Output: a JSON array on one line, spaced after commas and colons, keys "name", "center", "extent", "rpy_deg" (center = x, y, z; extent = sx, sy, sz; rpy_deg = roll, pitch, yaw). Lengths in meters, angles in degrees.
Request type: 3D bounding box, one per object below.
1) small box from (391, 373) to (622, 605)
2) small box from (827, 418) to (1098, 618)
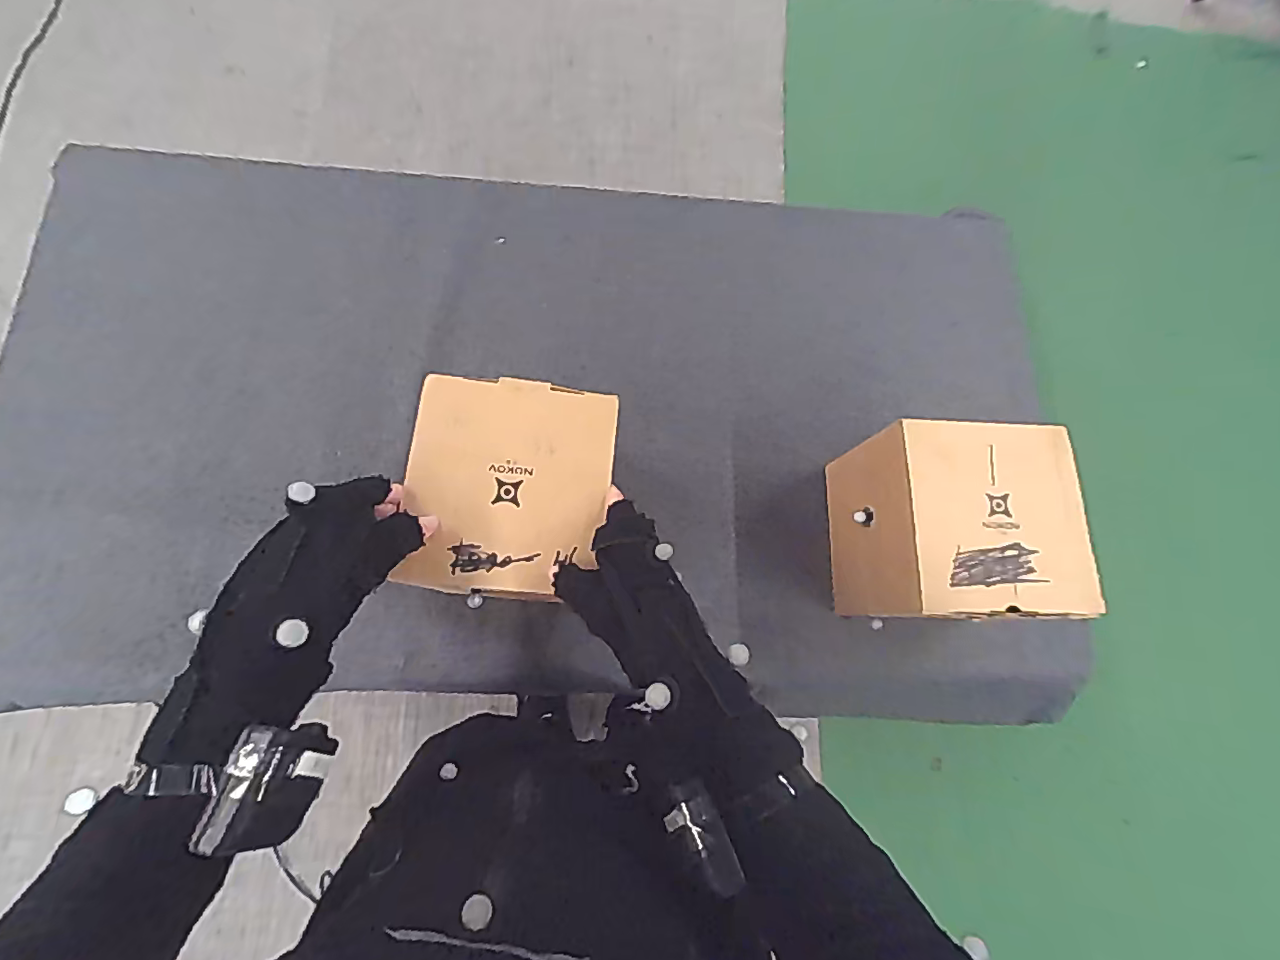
[{"name": "small box", "center": [-0.112, 0.022, 0.518], "extent": [0.168, 0.176, 0.179], "rpy_deg": [6, 75, -5]}, {"name": "small box", "center": [0.308, 0.050, 0.556], "extent": [0.168, 0.176, 0.179], "rpy_deg": [2, 75, -5]}]
